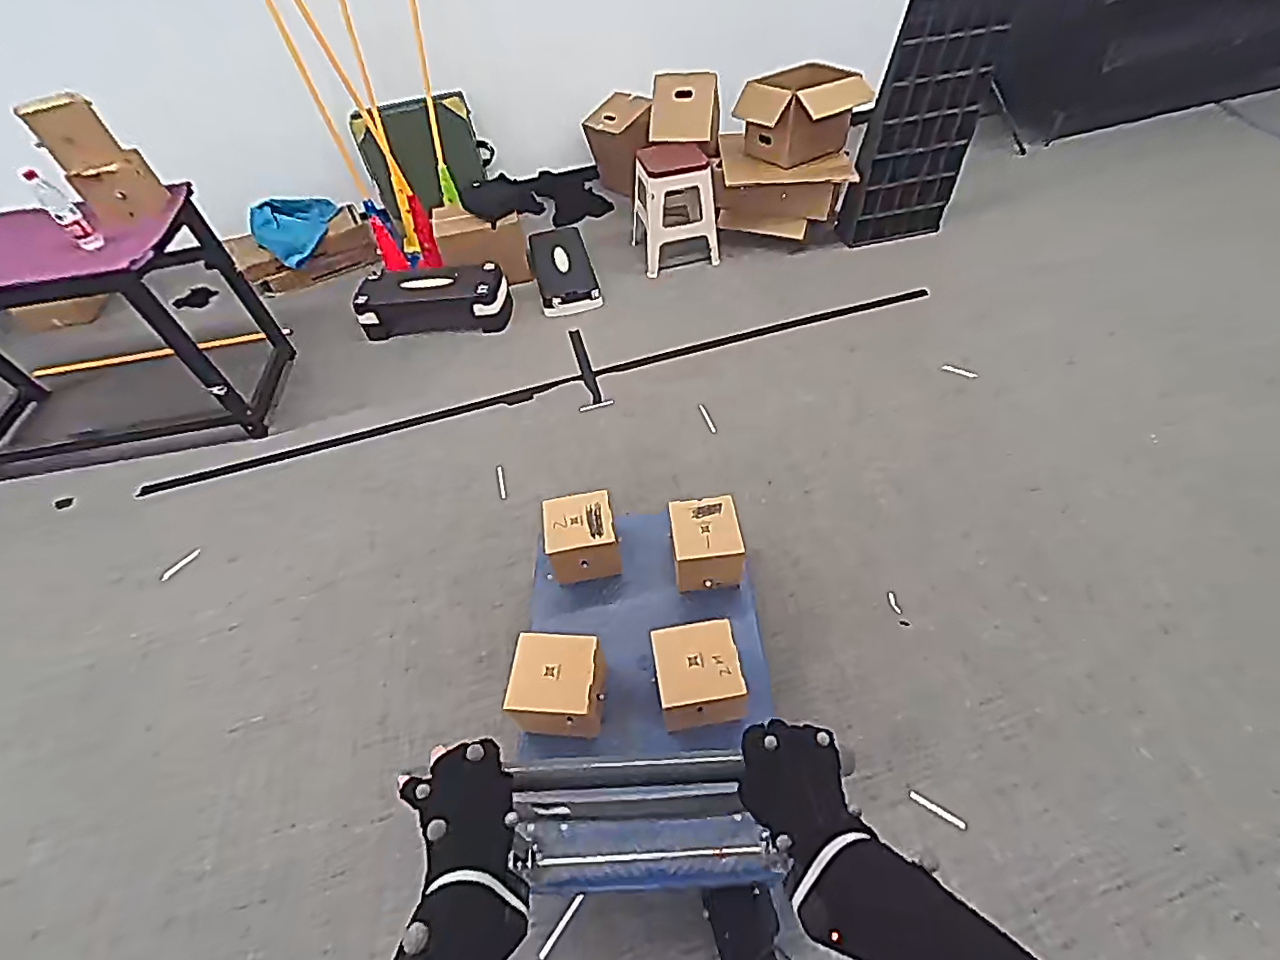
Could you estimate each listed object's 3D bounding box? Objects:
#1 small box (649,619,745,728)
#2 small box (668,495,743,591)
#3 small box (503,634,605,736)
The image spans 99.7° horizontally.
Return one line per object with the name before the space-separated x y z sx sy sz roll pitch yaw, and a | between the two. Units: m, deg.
small box | 0.122 0.427 1.182 0.179 0.176 0.168 -9 51 -1
small box | 0.163 0.164 1.392 0.168 0.176 0.179 -7 52 0
small box | -0.180 0.453 1.192 0.179 0.176 0.168 1 51 5
